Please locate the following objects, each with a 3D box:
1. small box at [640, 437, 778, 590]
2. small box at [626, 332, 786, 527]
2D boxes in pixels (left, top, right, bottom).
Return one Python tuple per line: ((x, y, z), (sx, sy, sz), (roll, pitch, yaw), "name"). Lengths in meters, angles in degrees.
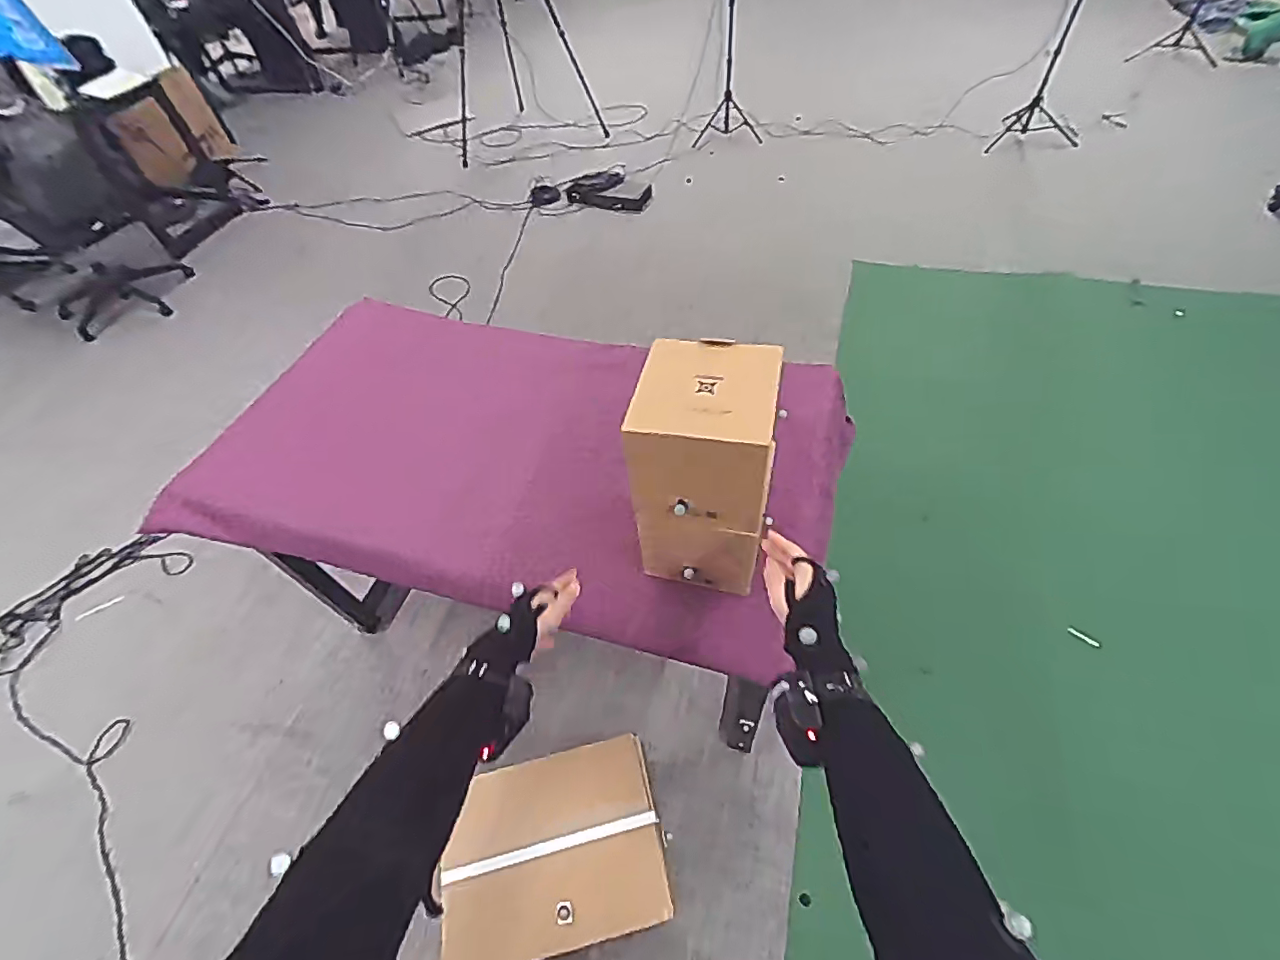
((0.106, 0.039, 0.822), (0.168, 0.176, 0.179), (10, 53, 15), "small box")
((0.088, -0.066, 0.699), (0.168, 0.176, 0.179), (8, 52, 13), "small box")
